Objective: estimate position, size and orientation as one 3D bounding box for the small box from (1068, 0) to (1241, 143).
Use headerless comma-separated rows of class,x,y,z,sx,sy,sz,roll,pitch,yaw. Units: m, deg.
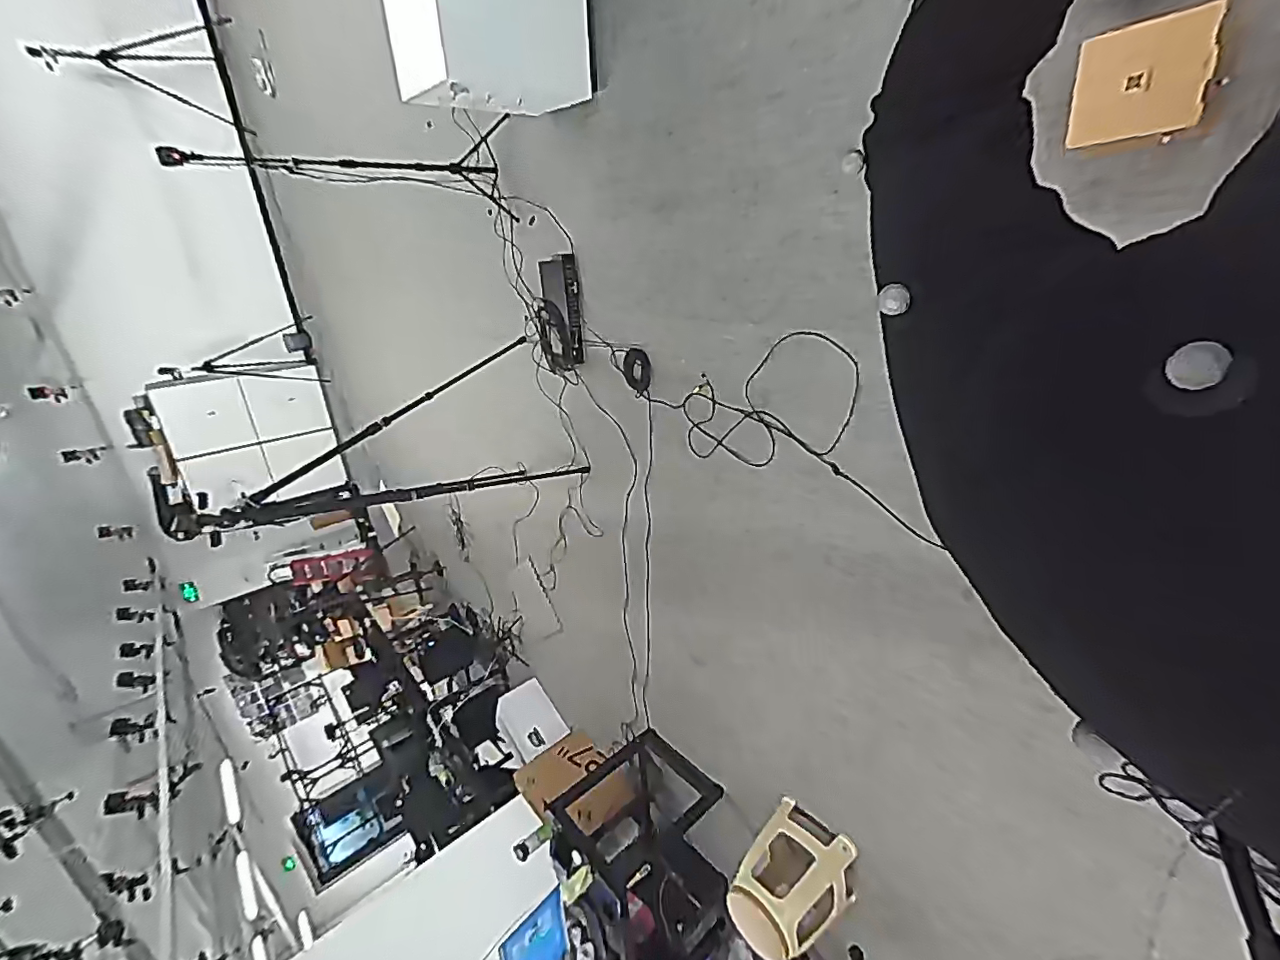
small box,0.879,-0.694,0.928,0.179,0.176,0.168,17,121,47
